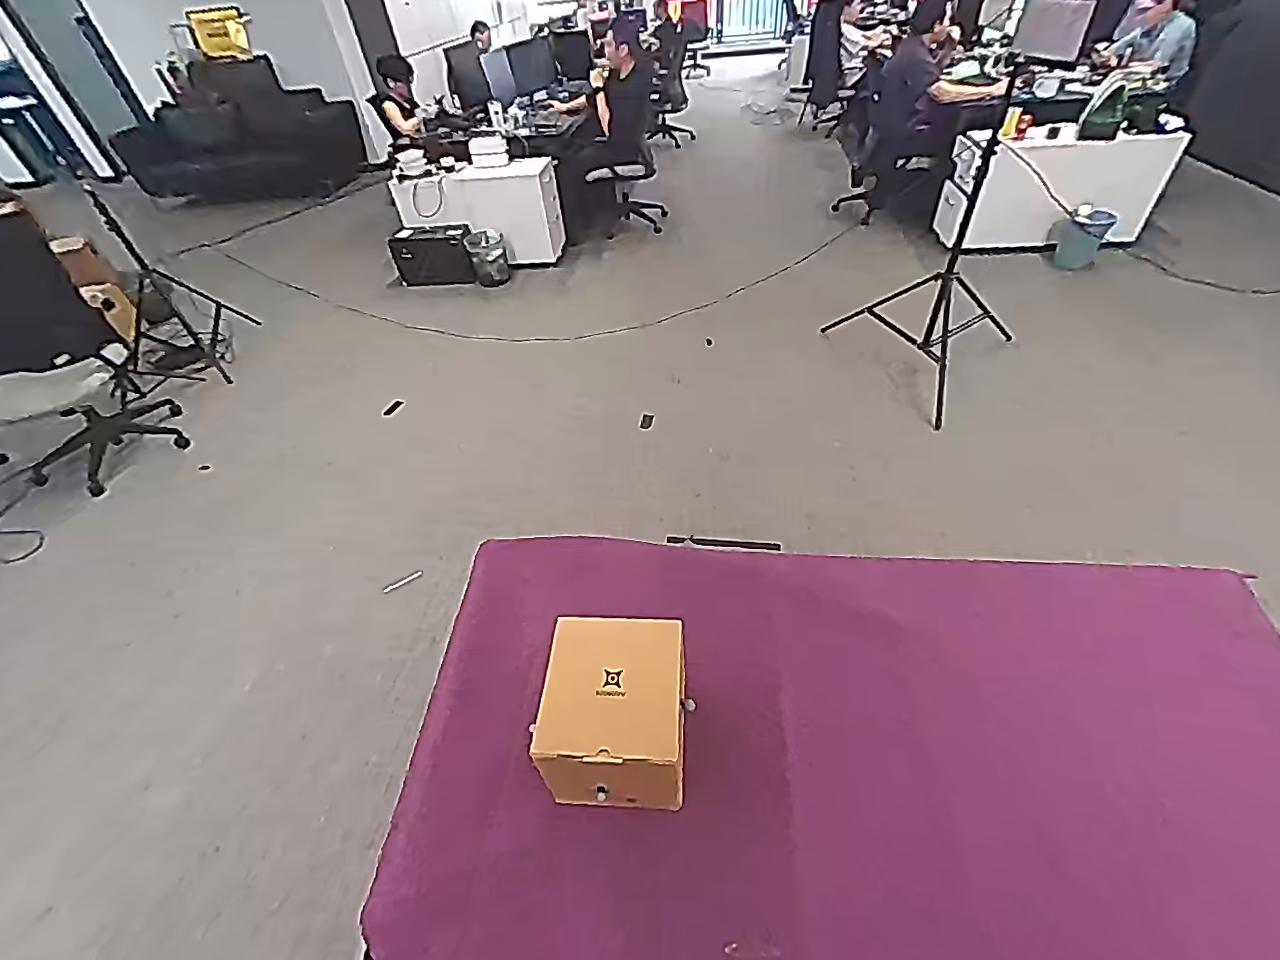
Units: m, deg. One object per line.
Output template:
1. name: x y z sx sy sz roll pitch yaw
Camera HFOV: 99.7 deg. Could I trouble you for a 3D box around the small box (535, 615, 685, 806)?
1. small box: -0.026 0.298 0.704 0.168 0.176 0.179 0 45 6
